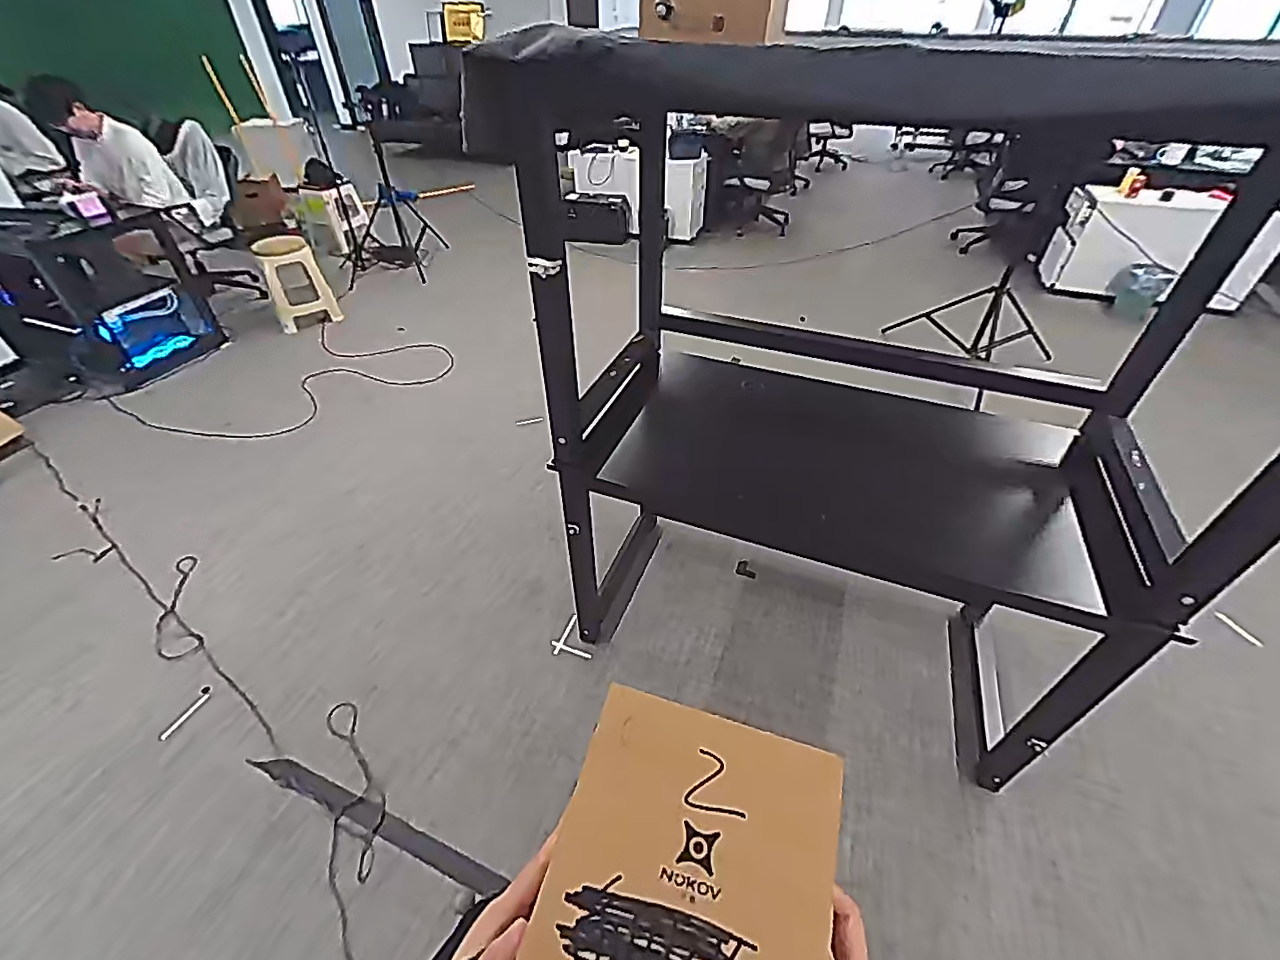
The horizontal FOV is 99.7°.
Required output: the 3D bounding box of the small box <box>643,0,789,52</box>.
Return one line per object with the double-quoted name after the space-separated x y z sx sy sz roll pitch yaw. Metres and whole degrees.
0.105 -0.656 0.690 0.168 0.176 0.179 14 41 13 "small box"
